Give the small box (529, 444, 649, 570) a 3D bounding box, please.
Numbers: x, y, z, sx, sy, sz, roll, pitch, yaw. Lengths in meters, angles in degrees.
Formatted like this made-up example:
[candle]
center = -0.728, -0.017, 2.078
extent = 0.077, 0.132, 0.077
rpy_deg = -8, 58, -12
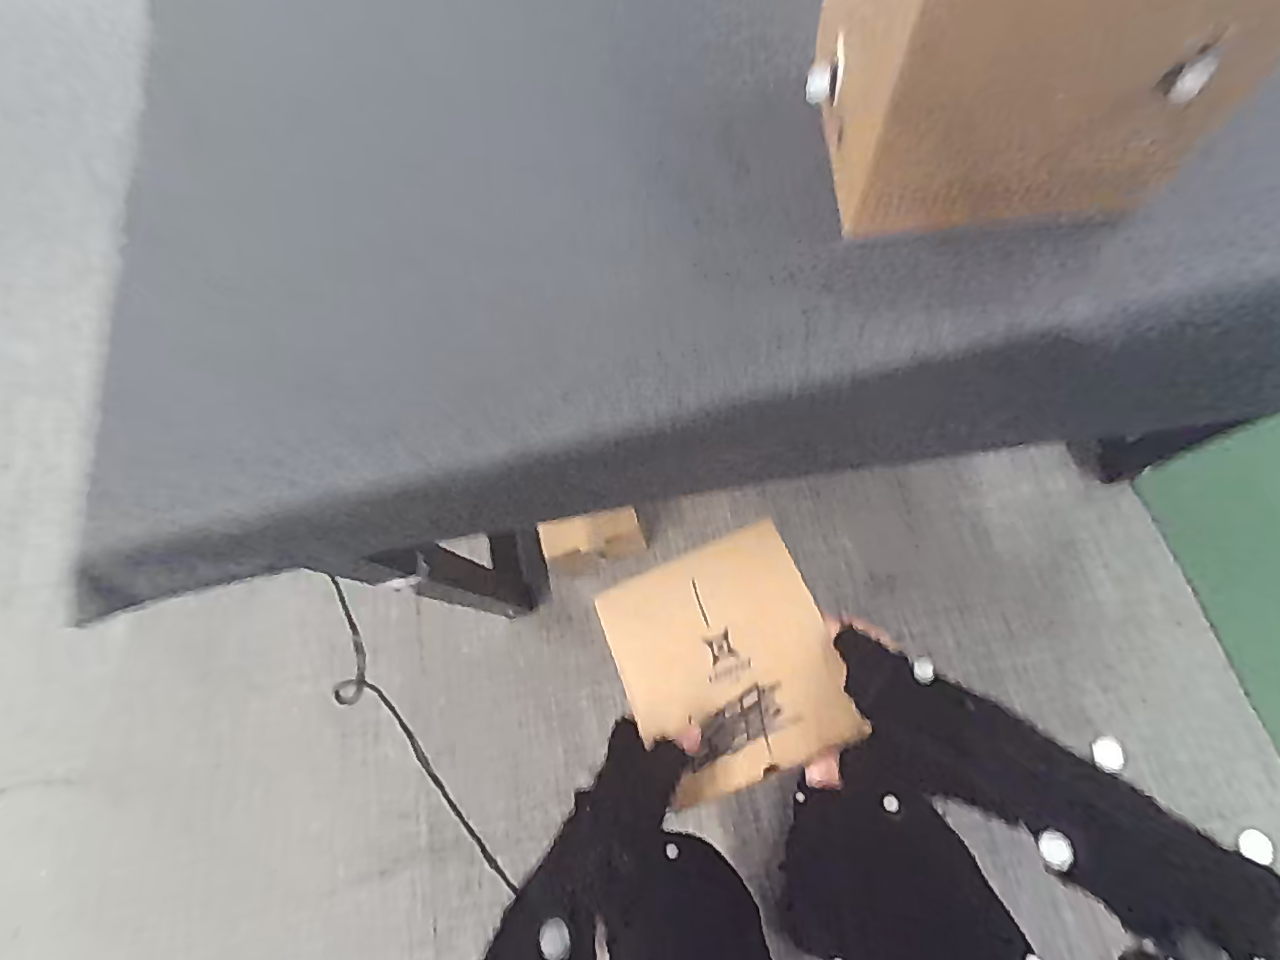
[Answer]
[small box]
center = -0.087, 0.060, 0.997
extent = 0.168, 0.176, 0.179
rpy_deg = -17, 71, 0
